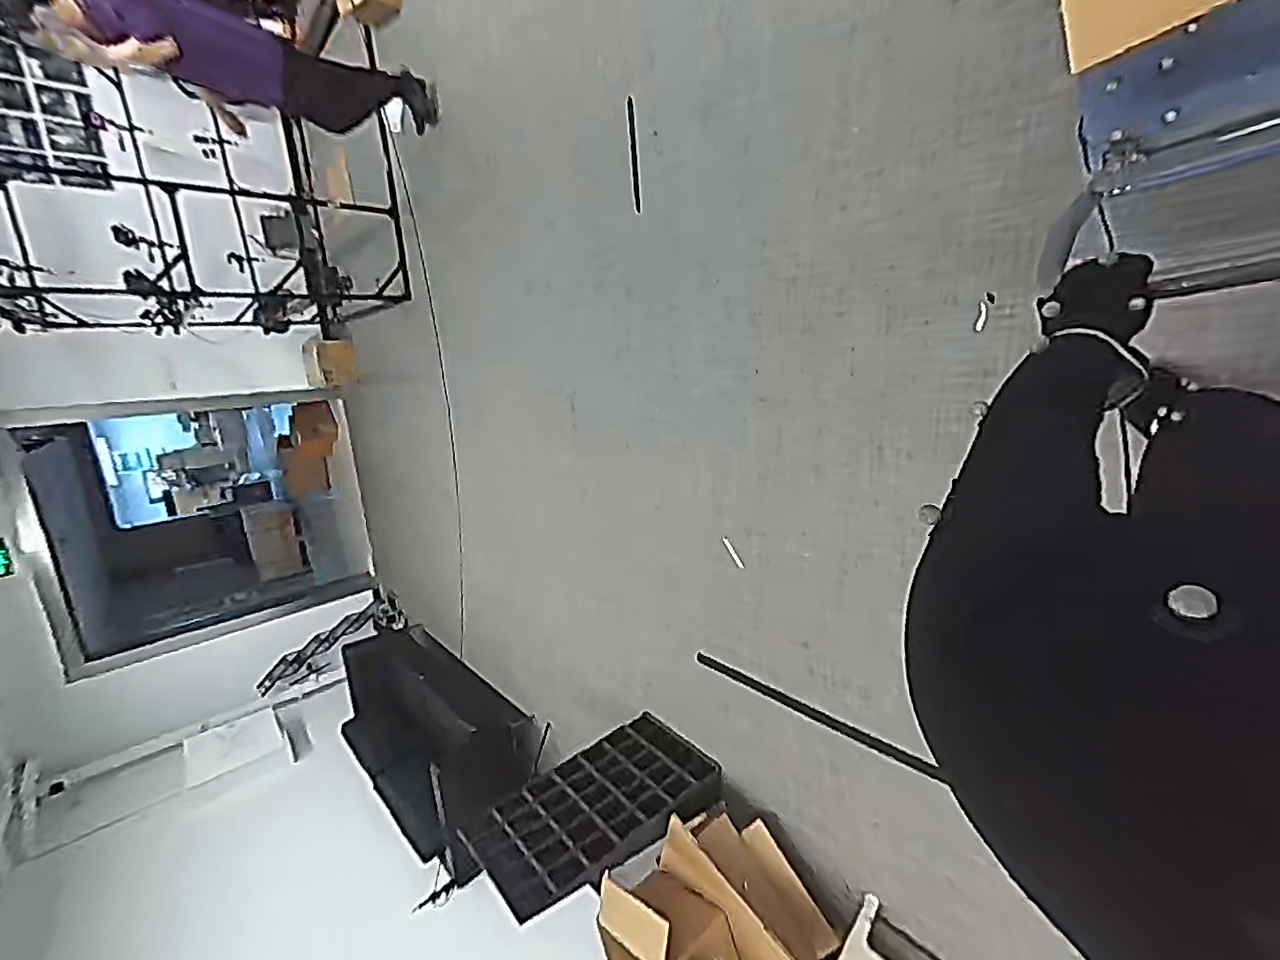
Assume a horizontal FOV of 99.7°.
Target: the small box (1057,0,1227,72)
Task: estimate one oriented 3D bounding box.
[{"bbox_3d":[0.757,-0.751,0.814,0.179,0.176,0.168,-3,115,49],"label":"small box"}]
